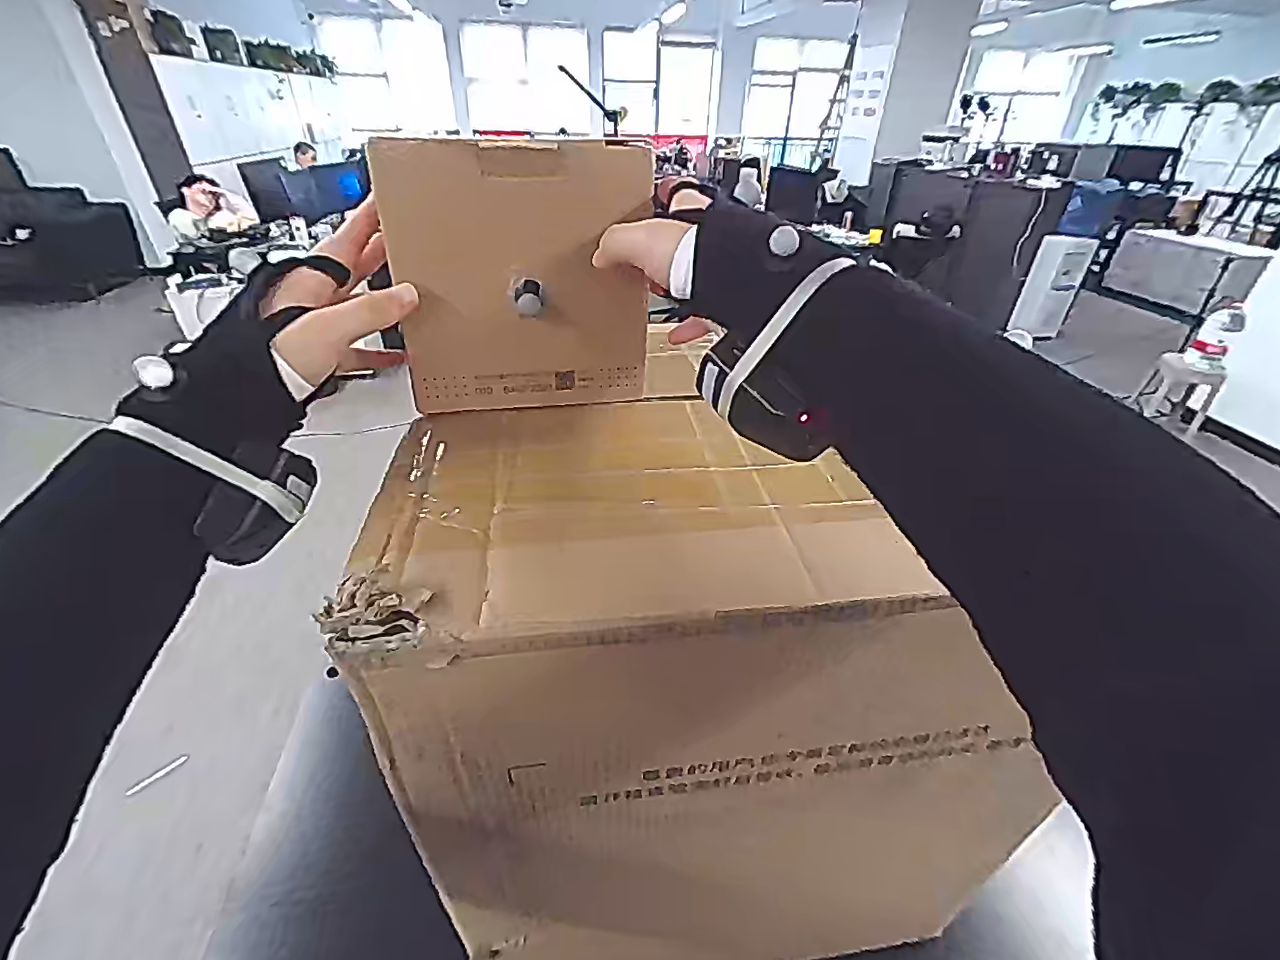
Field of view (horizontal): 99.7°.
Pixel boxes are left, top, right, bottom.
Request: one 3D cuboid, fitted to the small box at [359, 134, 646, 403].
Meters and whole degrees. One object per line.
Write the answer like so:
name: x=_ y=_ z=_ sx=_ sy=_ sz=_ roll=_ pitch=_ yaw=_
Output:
small box: x=-0.093 y=-0.165 z=0.417 sx=0.168 sy=0.176 sz=0.179 roll=-6 pitch=33 yaw=-12
